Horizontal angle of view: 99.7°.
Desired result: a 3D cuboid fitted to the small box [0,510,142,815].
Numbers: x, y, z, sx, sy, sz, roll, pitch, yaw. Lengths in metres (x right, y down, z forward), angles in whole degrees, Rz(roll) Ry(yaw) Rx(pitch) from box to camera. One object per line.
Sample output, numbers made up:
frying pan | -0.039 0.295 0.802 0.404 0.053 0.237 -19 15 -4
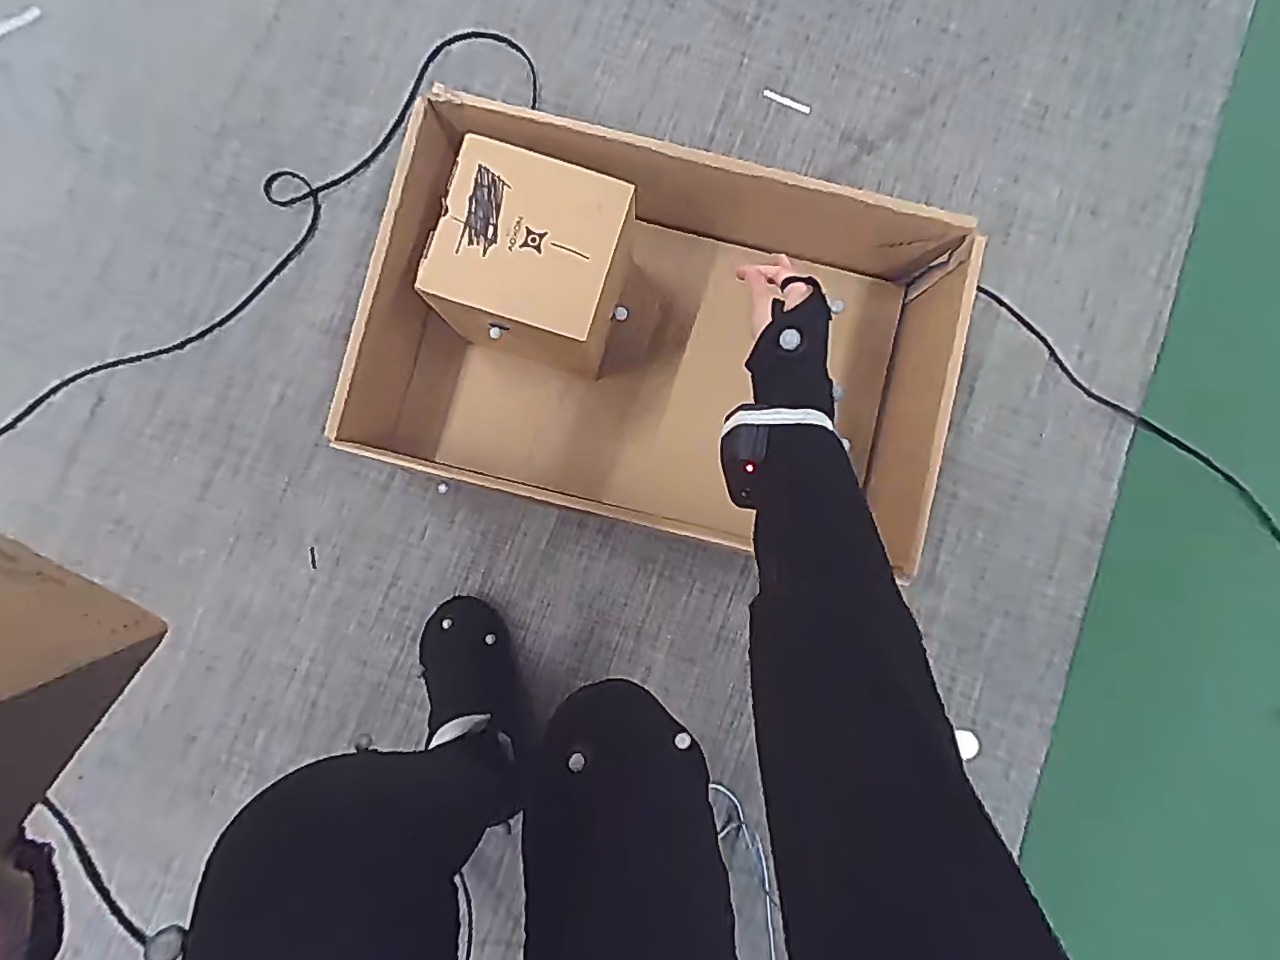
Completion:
small box | -0.312 0.085 0.150 0.168 0.176 0.179 36 82 -11
